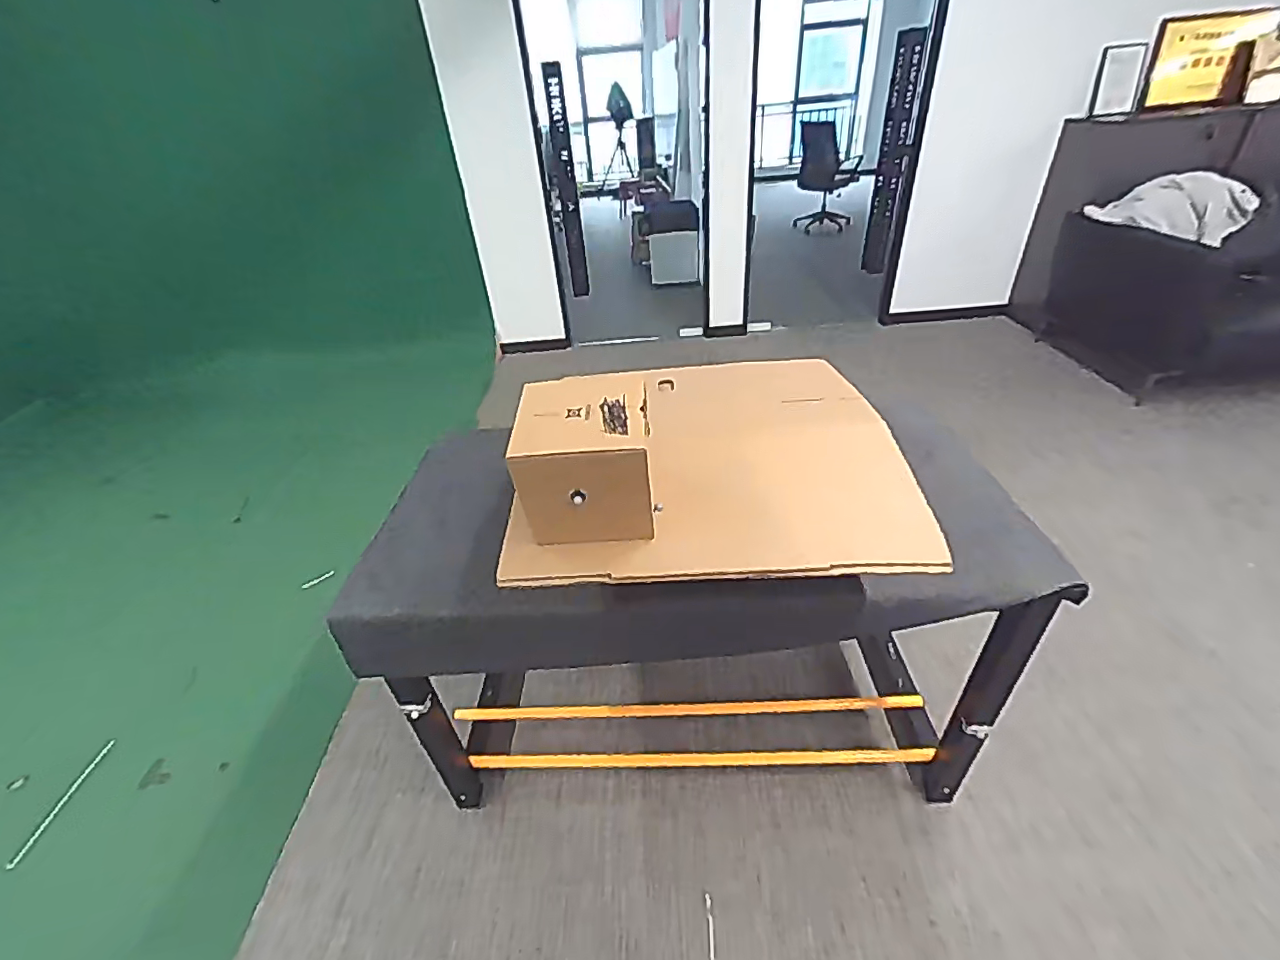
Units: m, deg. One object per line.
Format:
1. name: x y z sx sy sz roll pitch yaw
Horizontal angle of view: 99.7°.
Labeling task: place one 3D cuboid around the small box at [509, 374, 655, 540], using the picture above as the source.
1. small box: -0.069 -0.030 0.771 0.179 0.176 0.168 -4 43 4
